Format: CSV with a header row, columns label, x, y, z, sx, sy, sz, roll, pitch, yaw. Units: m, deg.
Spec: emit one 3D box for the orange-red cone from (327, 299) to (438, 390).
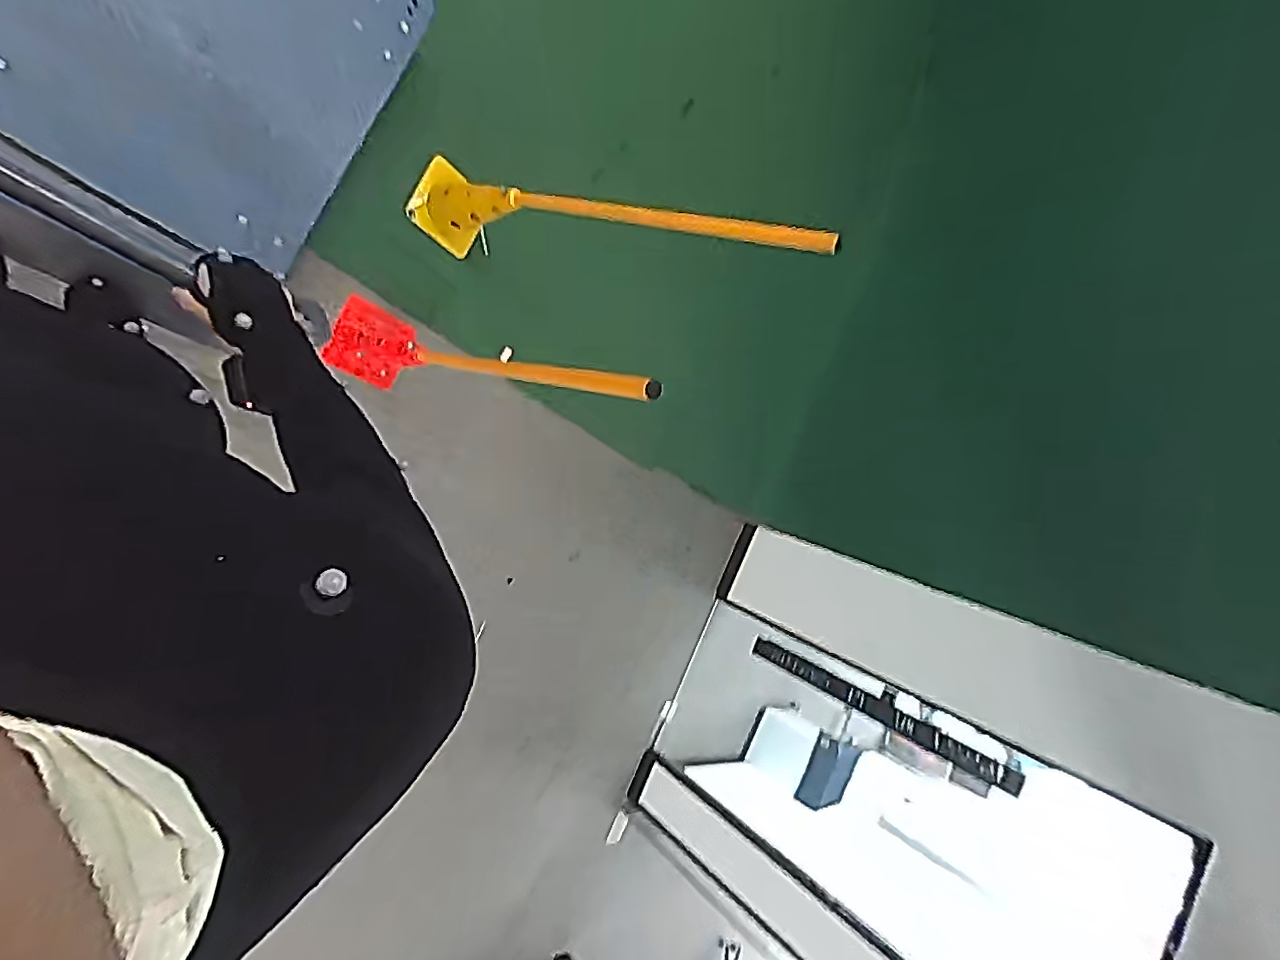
label,x,y,z,sx,sy,sz,roll,pitch,yaw
orange-red cone,-0.616,-0.332,1.384,0.198,0.360,0.199,32,80,-47
